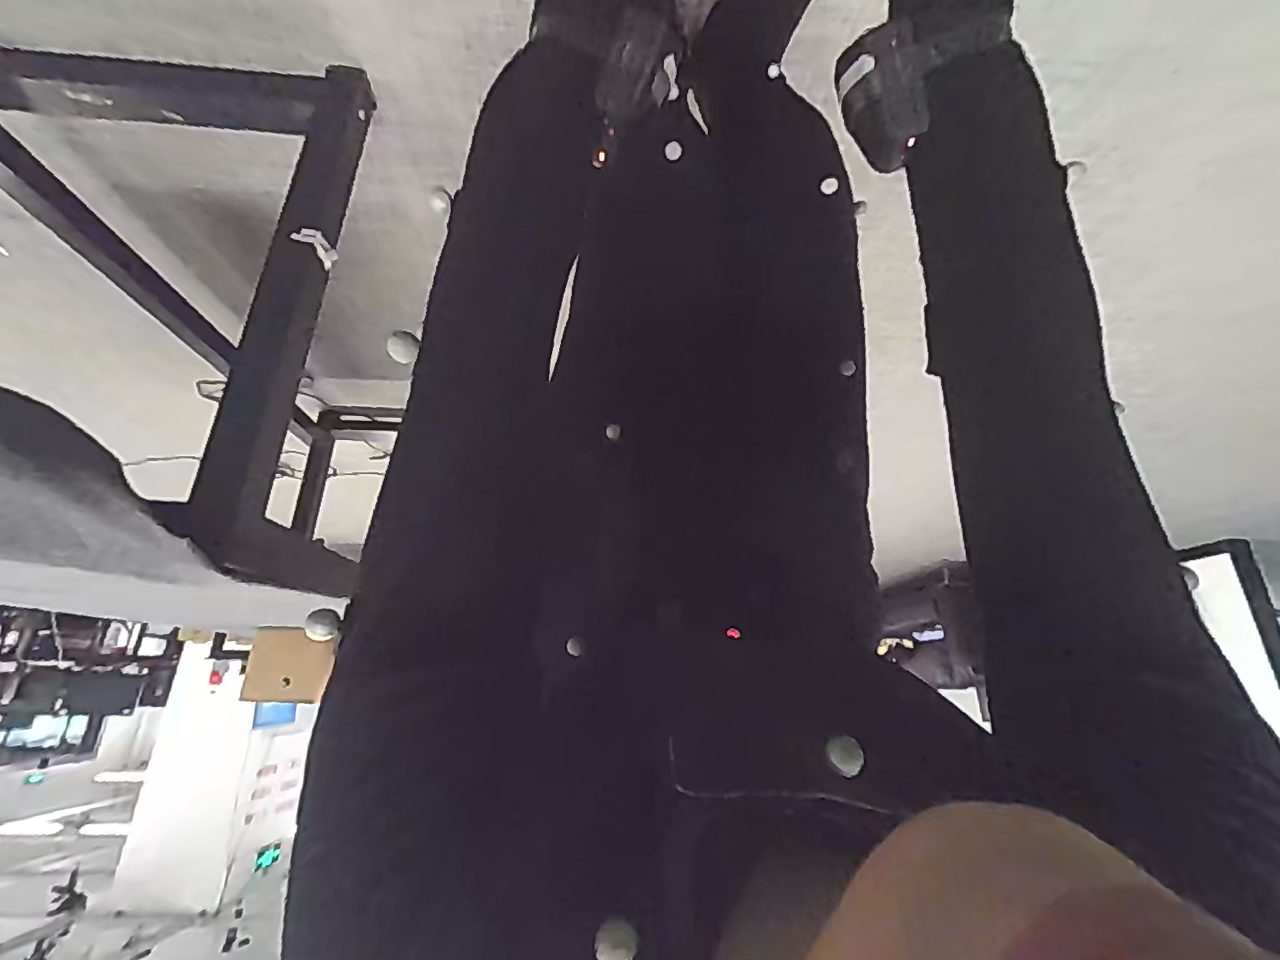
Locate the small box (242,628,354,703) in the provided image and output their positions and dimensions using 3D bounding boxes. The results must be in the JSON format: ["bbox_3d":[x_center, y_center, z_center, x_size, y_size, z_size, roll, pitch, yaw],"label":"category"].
[{"bbox_3d":[-0.845,0.465,1.361,0.179,0.176,0.168,2,159,-2],"label":"small box"}]
